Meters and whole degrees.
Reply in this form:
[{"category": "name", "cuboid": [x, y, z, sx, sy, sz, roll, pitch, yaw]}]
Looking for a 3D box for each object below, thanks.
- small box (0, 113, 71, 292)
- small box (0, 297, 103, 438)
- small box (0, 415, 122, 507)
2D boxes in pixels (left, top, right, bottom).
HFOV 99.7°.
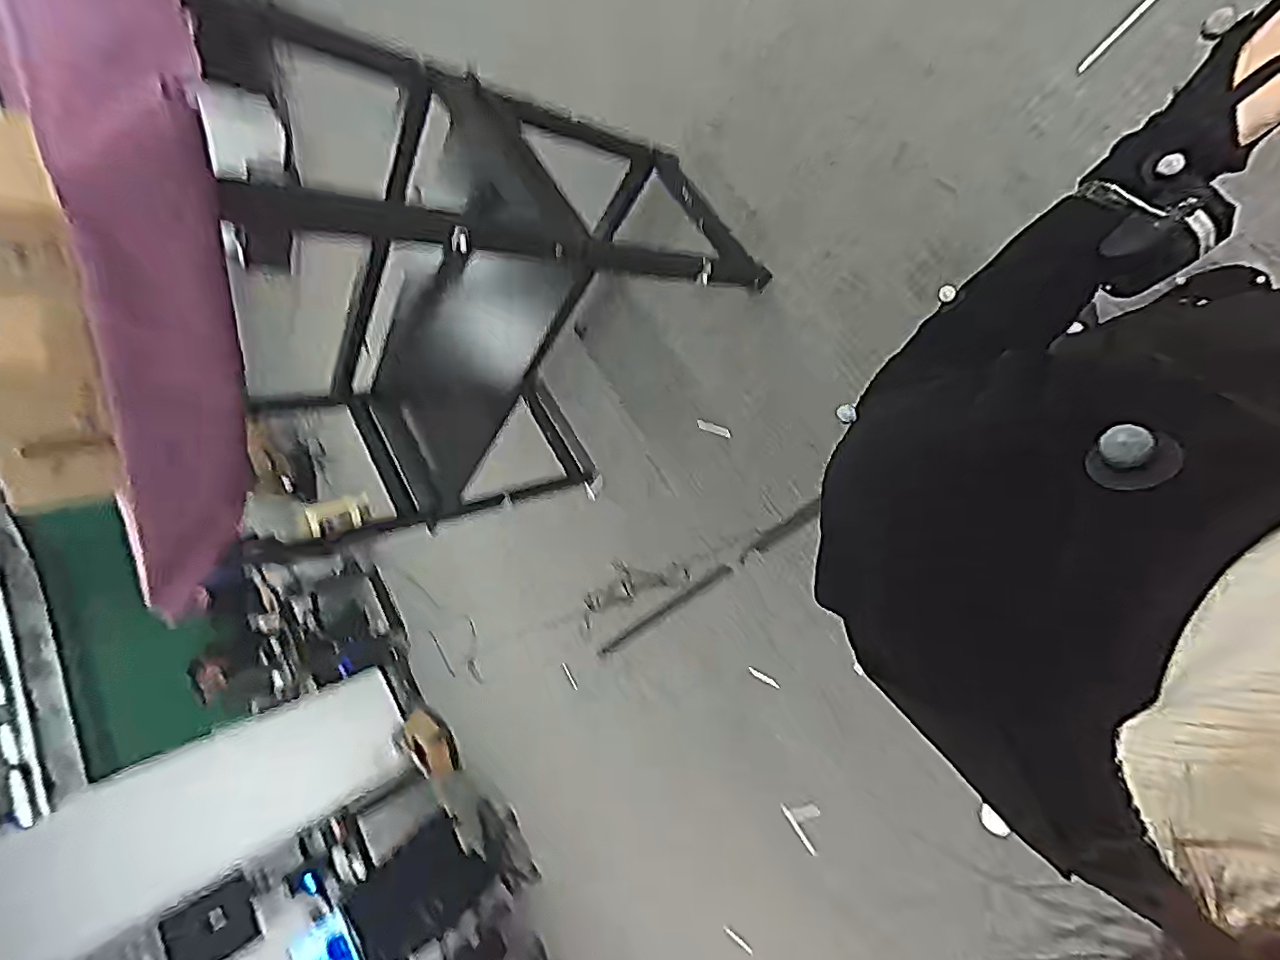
[{"category": "small box", "cuboid": [-0.863, -0.357, 0.685, 0.168, 0.176, 0.179, -41, 72, 44]}, {"category": "small box", "cuboid": [-1.043, -0.195, 0.912, 0.179, 0.176, 0.168, 55, 133, 19]}, {"category": "small box", "cuboid": [-1.175, -0.074, 1.079, 0.179, 0.176, 0.168, -46, 69, 42]}]
